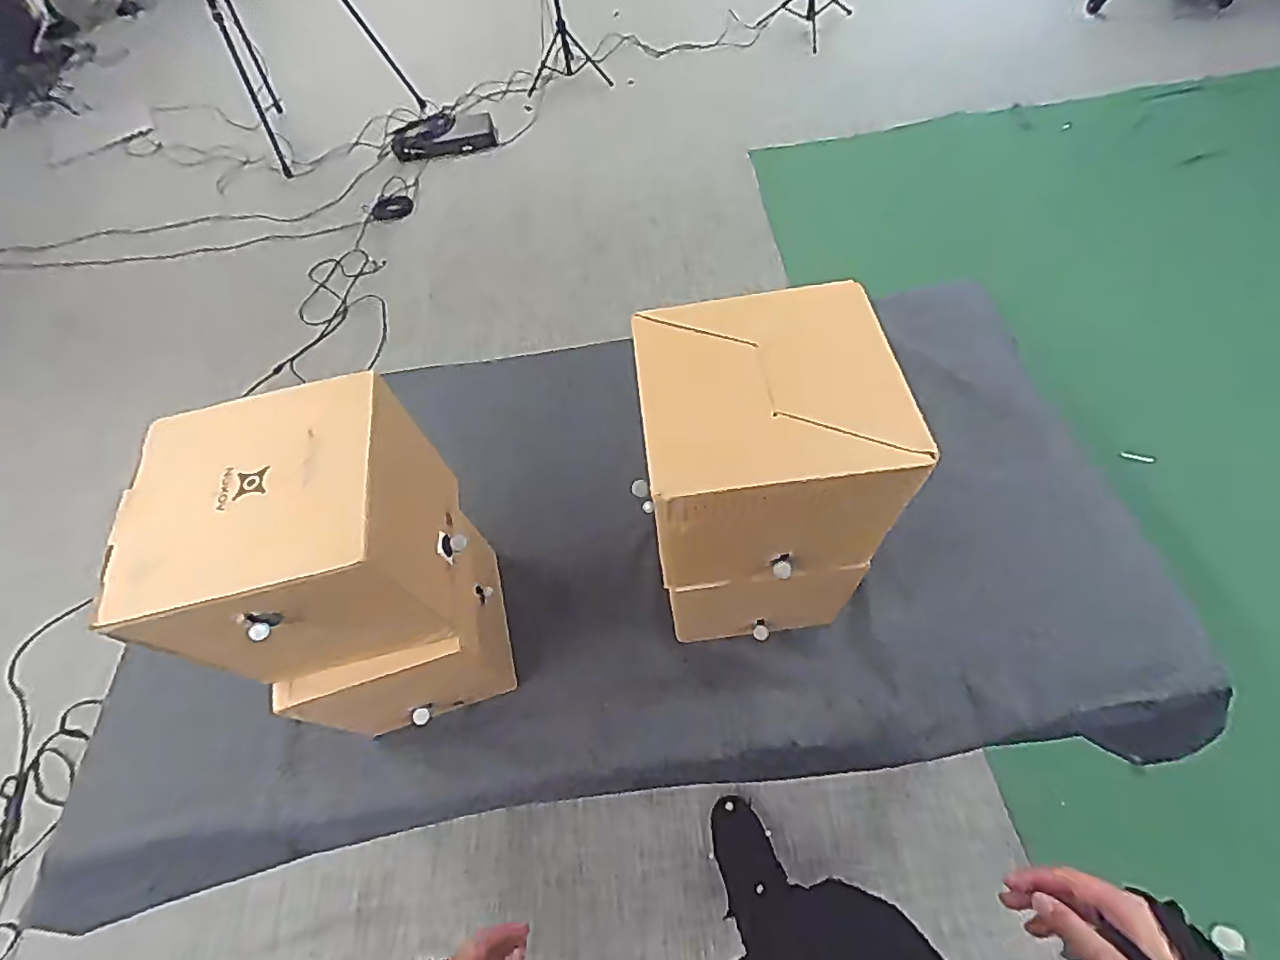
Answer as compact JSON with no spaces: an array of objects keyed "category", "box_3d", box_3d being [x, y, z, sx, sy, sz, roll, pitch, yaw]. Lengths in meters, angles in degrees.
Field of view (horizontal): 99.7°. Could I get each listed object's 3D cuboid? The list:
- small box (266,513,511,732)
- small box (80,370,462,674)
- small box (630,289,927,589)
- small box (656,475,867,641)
[{"category":"small box","box_3d":[-0.247,0.141,0.565,0.168,0.176,0.179,-17,59,-4]},{"category":"small box","box_3d":[-0.261,0.043,0.435,0.179,0.176,0.168,-13,59,-2]},{"category":"small box","box_3d":[0.089,-0.028,0.431,0.179,0.176,0.168,-7,58,3]},{"category":"small box","box_3d":[0.109,0.062,0.572,0.179,0.176,0.168,-8,58,1]}]
